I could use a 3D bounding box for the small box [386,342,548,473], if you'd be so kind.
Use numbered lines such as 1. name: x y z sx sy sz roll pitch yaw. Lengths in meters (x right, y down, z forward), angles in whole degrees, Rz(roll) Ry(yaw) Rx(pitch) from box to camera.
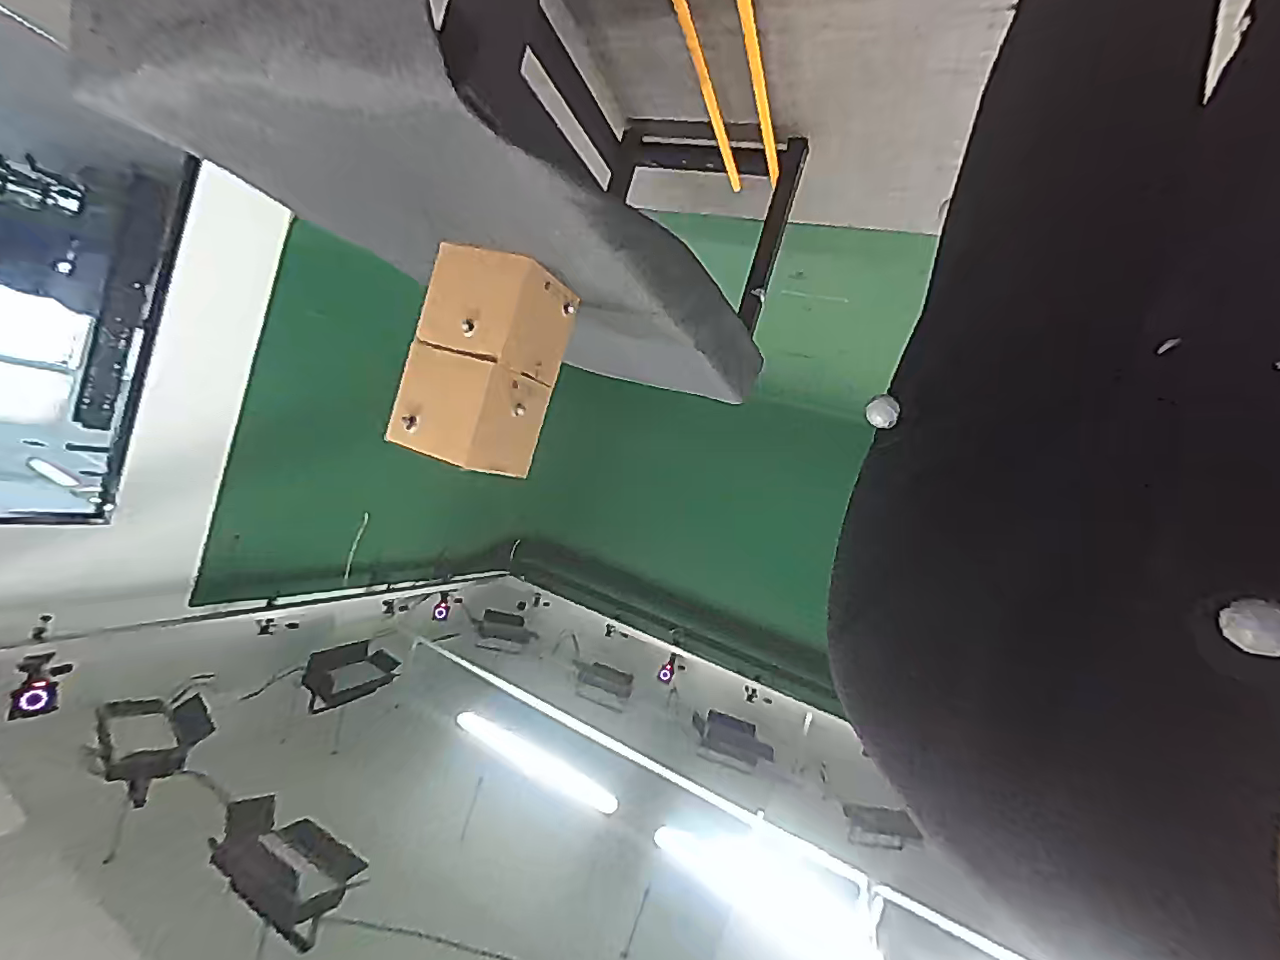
1. small box: -0.284 -0.122 0.914 0.179 0.176 0.168 18 -177 23

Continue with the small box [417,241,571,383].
1. small box: -0.233 -0.279 0.907 0.179 0.176 0.168 19 -177 21
